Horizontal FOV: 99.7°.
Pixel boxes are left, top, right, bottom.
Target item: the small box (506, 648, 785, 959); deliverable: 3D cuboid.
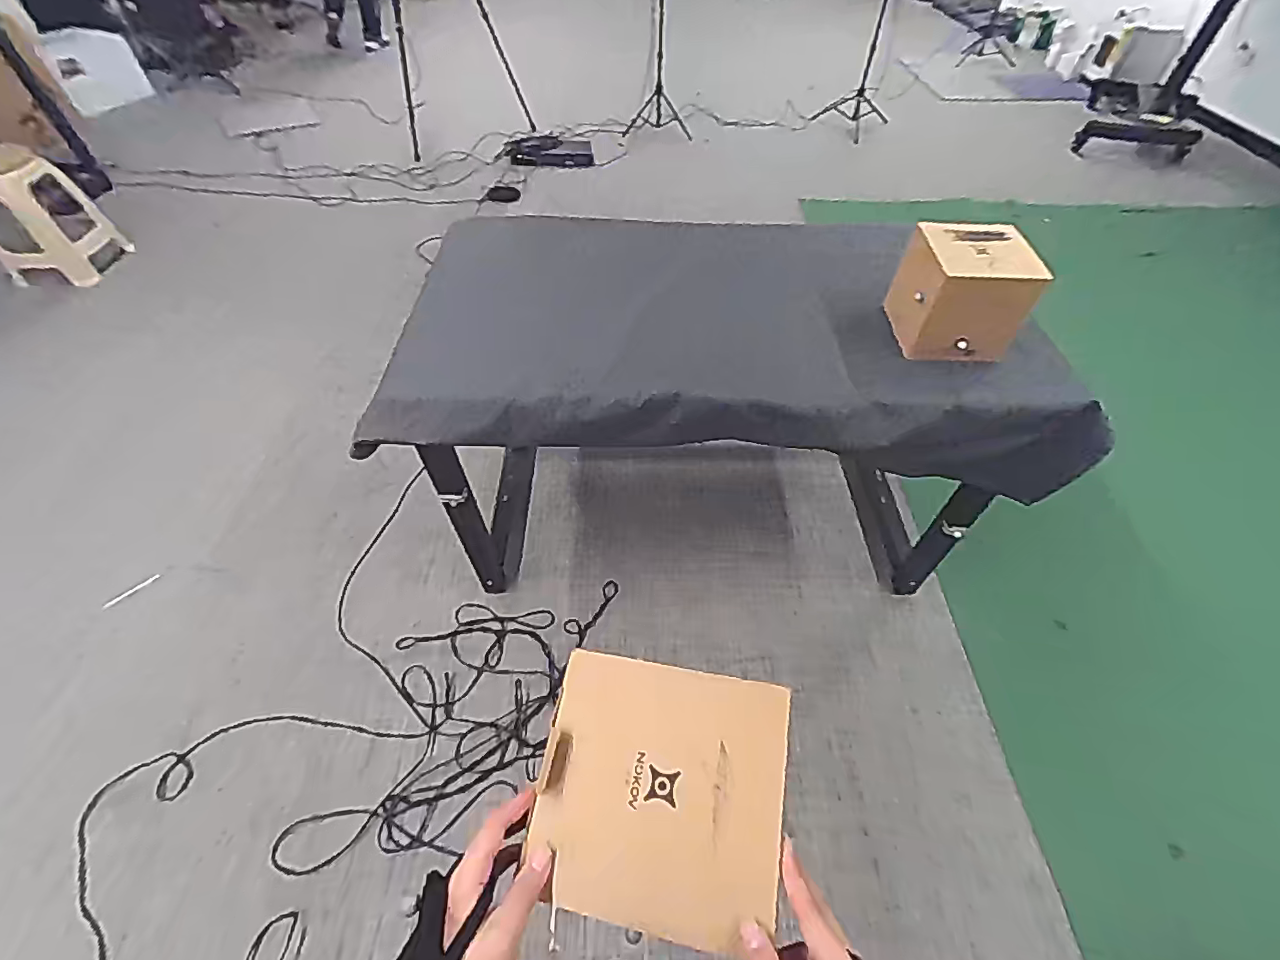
[{"bbox_3d":[0.019,0.251,0.445,0.179,0.176,0.168,5,61,11],"label":"small box"}]
